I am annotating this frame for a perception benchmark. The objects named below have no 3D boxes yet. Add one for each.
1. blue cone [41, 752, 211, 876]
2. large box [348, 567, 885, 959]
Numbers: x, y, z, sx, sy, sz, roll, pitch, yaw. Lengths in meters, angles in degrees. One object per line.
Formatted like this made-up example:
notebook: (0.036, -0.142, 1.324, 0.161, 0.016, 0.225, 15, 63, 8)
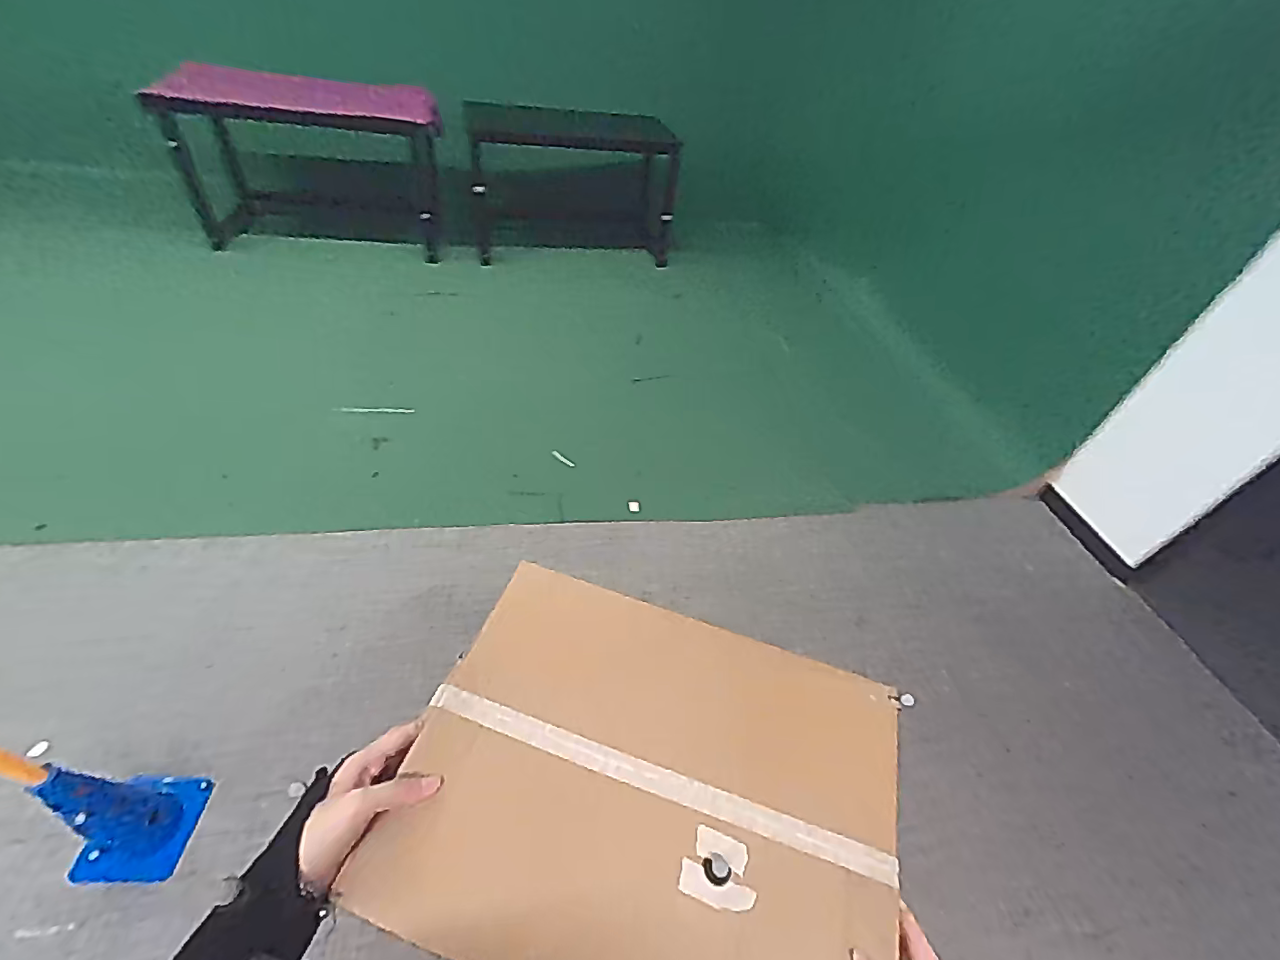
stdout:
blue cone: (-1.074, 0.646, 1.088, 0.193, 0.380, 0.192, 6, 43, -5)
large box: (-0.003, 0.351, 0.582, 0.408, 0.320, 0.320, 17, 49, 8)
